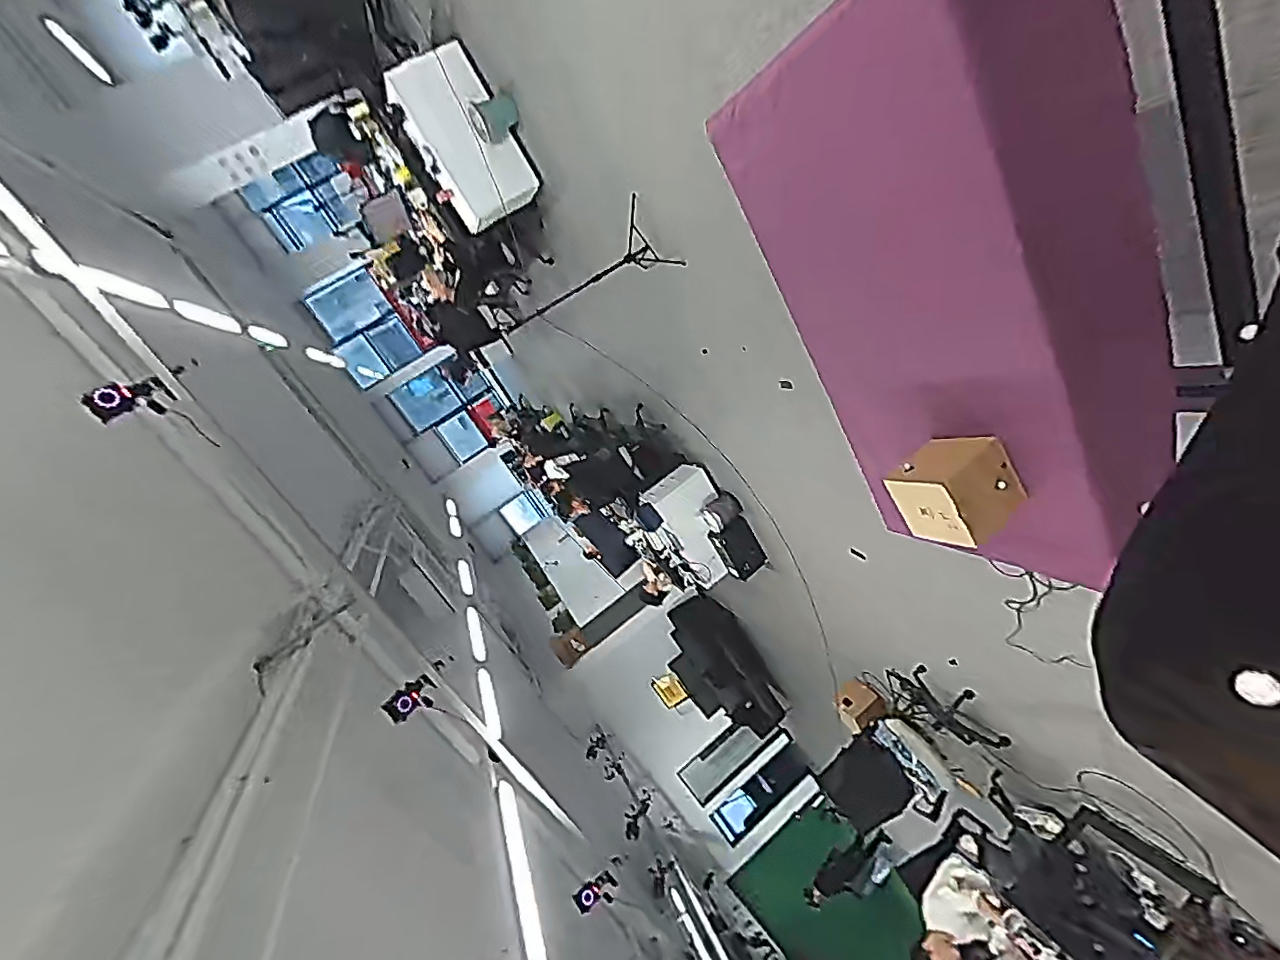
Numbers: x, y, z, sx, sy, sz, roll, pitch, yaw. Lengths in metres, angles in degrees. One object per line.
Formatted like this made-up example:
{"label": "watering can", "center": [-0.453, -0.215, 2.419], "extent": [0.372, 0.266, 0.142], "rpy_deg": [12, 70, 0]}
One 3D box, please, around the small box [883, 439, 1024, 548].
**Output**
{"label": "small box", "center": [0.685, 0.022, 1.188], "extent": [0.168, 0.176, 0.179], "rpy_deg": [56, 167, -11]}
